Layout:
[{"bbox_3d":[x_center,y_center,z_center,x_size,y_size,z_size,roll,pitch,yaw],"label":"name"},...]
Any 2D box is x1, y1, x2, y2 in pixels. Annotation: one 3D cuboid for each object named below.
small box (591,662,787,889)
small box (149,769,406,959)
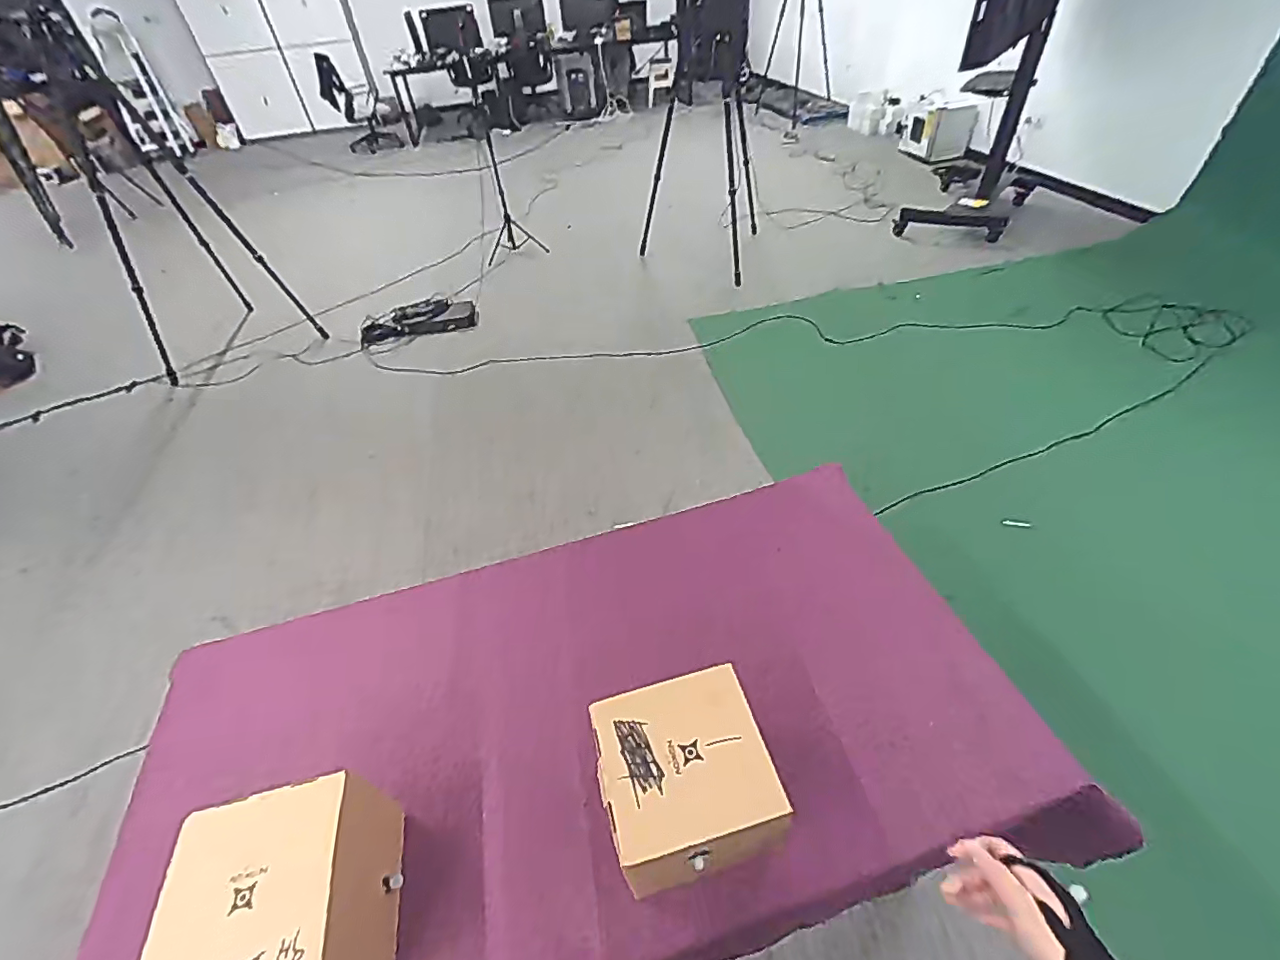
[{"bbox_3d":[0.053,0.348,0.635,0.179,0.176,0.168,-14,45,-7],"label":"small box"},{"bbox_3d":[-0.368,0.451,0.584,0.168,0.176,0.179,-13,44,-6],"label":"small box"}]
